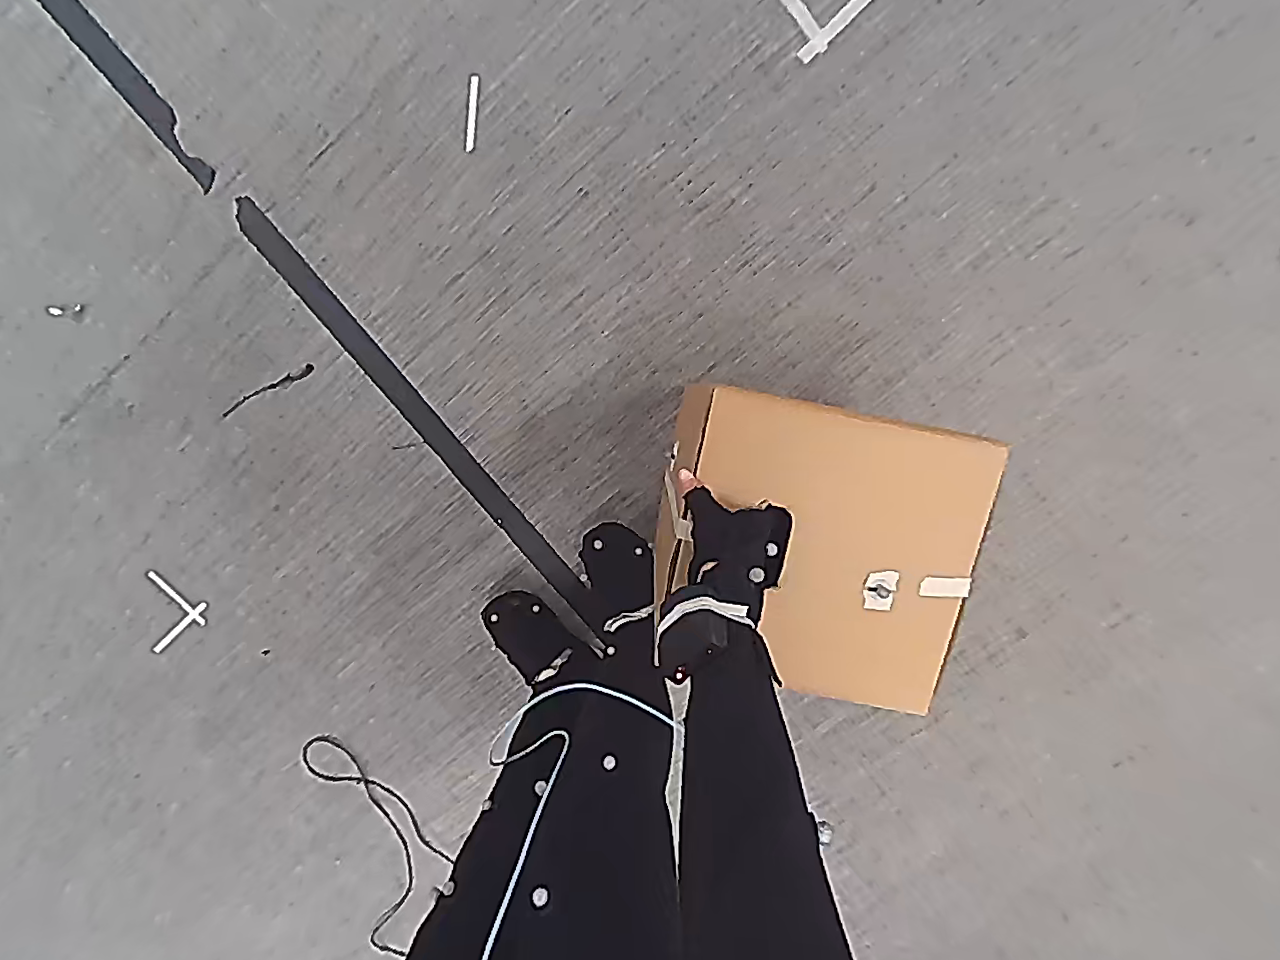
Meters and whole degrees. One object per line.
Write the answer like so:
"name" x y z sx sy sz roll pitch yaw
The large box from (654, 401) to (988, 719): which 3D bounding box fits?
"large box" 0.198 0.069 0.771 0.320 0.408 0.320 12 100 0
